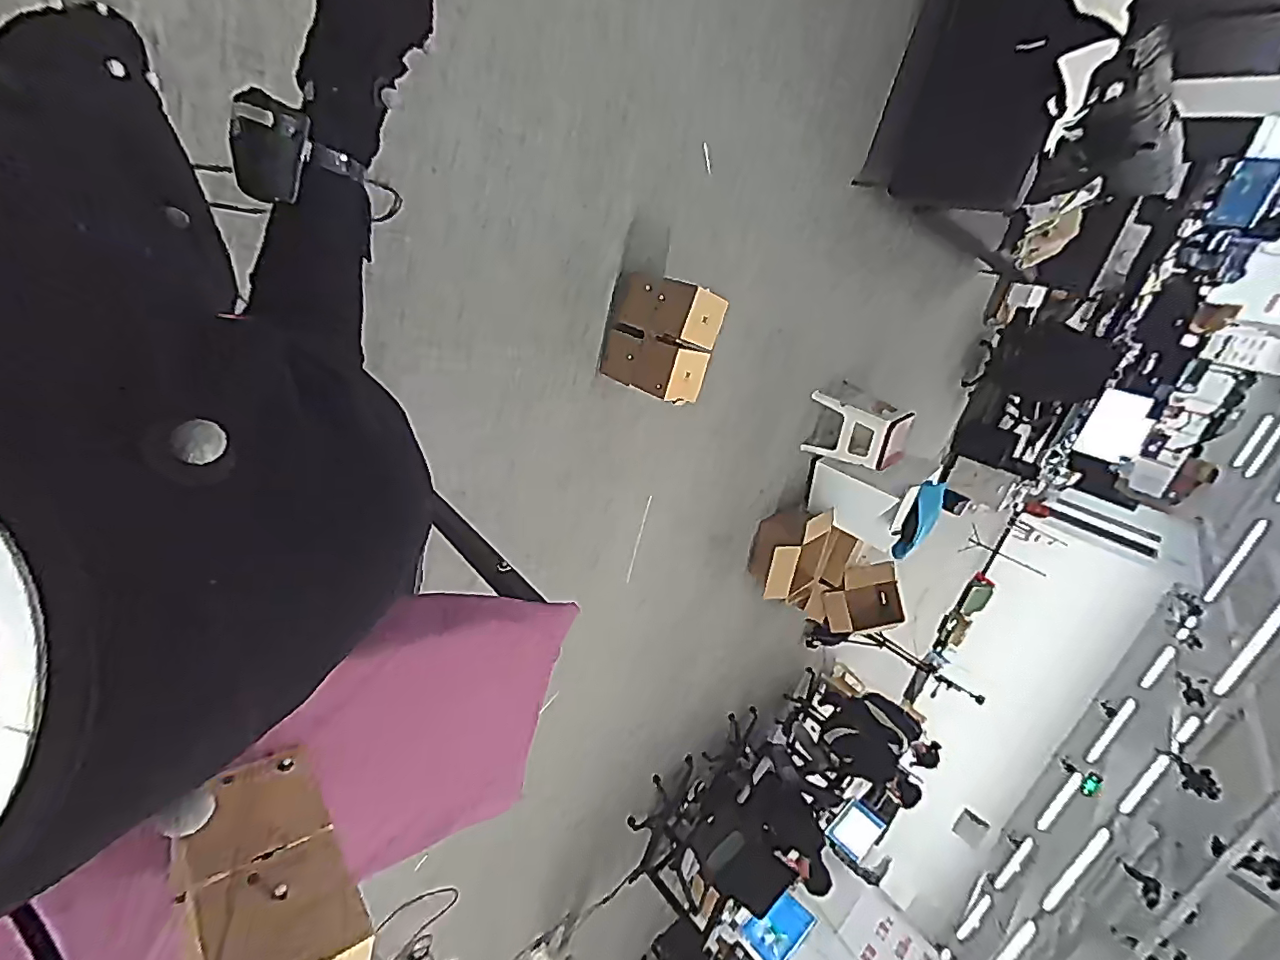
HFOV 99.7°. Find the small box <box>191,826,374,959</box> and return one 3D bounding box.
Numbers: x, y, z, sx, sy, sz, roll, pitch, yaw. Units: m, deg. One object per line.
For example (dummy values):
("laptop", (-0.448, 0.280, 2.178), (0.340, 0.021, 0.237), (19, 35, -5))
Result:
("small box", (-0.478, 0.616, 0.718), (0.168, 0.176, 0.179), (-3, 116, -46))

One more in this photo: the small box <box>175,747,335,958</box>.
("small box", (-0.585, 0.539, 0.816), (0.168, 0.176, 0.179), (-2, 117, -46))
